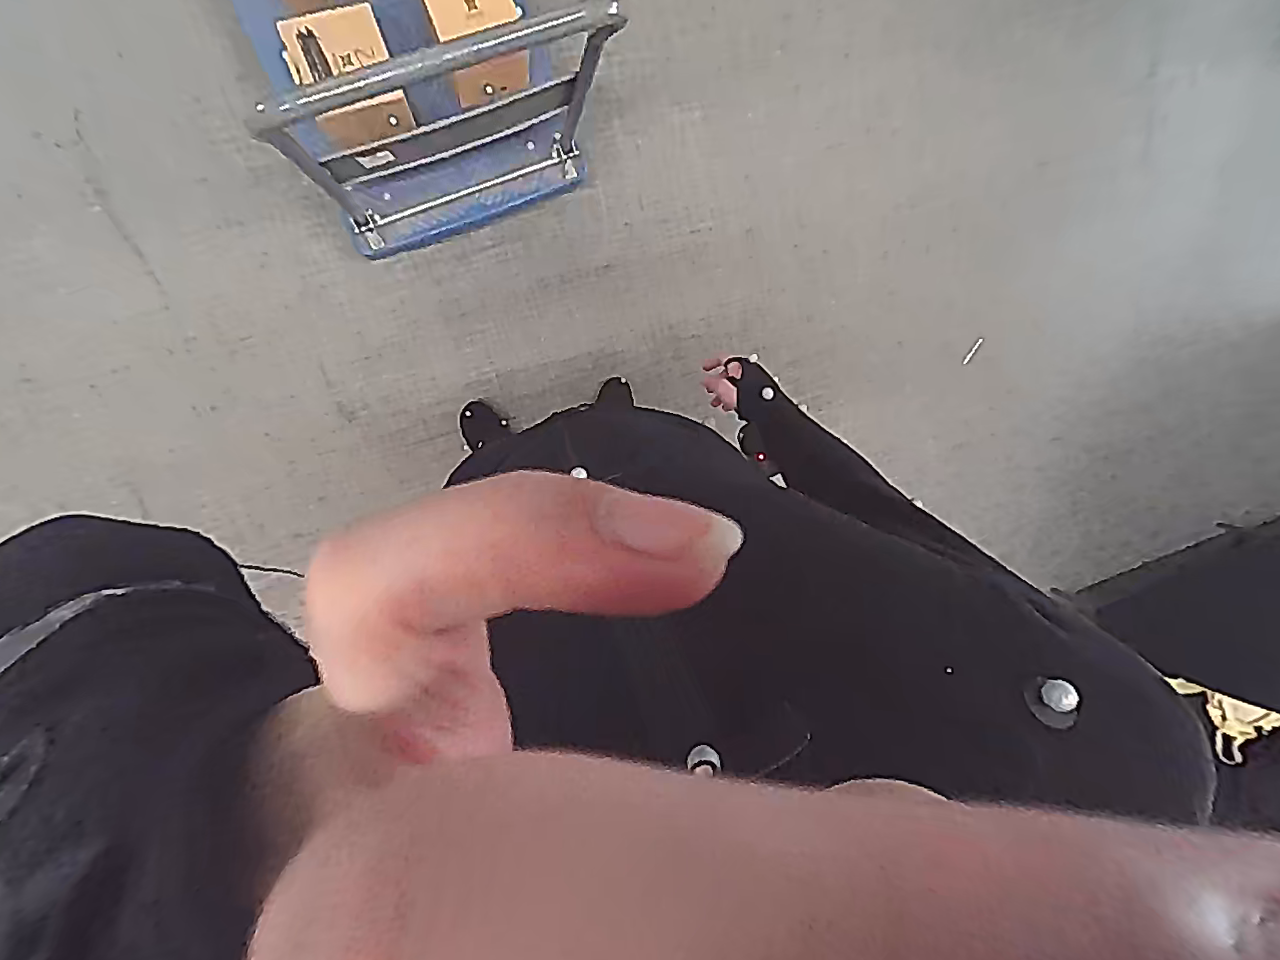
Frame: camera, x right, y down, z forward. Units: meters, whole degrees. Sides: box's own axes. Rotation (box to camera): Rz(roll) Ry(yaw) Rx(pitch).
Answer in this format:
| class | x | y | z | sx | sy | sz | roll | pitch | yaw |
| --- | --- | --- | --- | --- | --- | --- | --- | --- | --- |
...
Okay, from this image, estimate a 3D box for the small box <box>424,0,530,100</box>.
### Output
| class | x | y | z | sx | sy | sz | roll | pitch | yaw |
| --- | --- | --- | --- | --- | --- | --- | --- | --- | --- |
| small box | -0.341 | -0.941 | 1.124 | 0.168 | 0.176 | 0.179 | -23 | 106 | -7 |
